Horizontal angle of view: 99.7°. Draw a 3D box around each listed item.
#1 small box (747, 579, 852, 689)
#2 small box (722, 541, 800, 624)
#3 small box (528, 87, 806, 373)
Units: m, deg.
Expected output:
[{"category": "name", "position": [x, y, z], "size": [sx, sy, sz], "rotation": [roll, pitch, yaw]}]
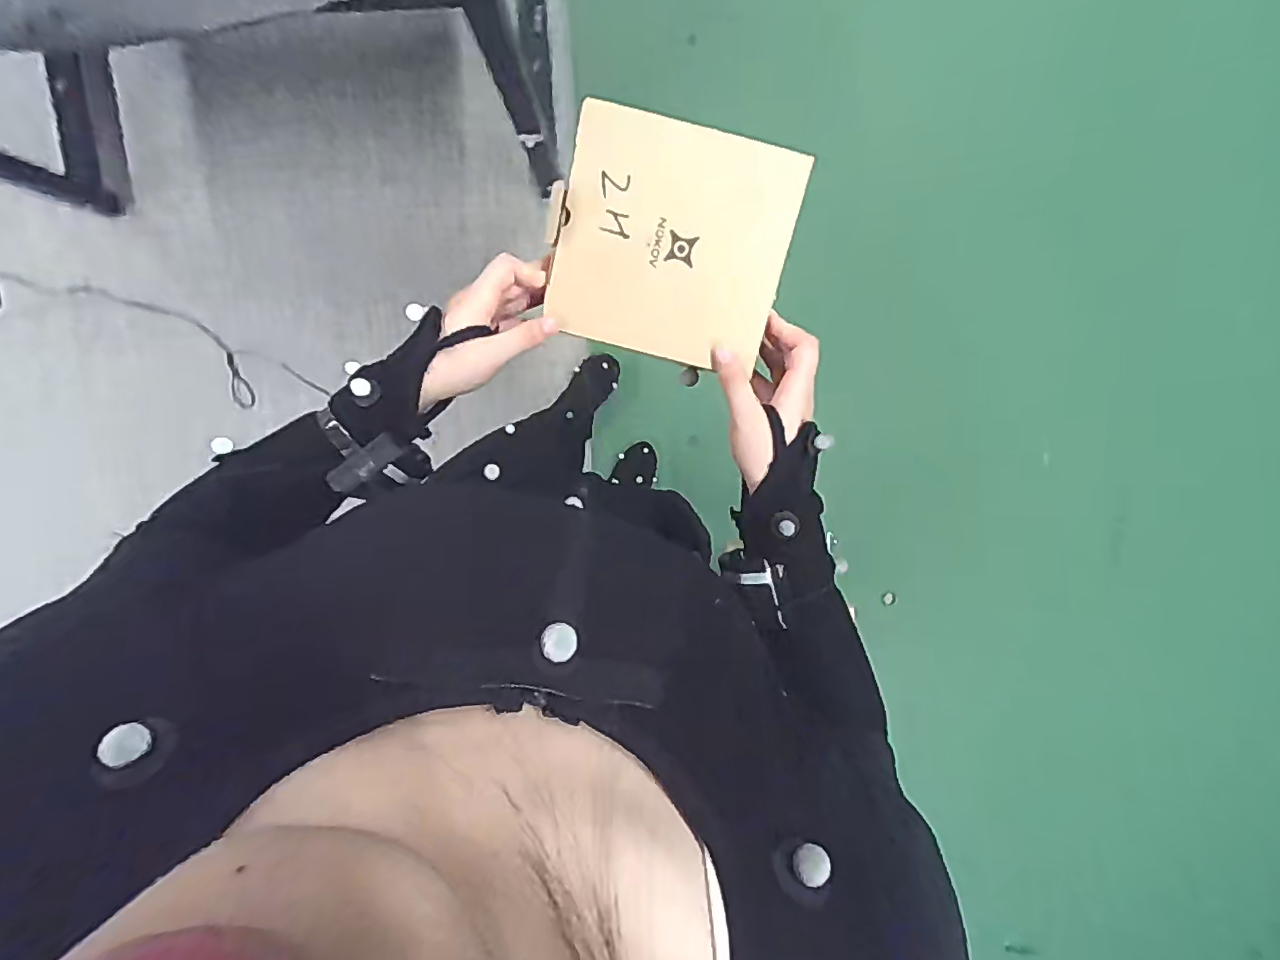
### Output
[{"category": "small box", "position": [0.321, 0.309, 1.116], "size": [0.168, 0.176, 0.179], "rotation": [1, 98, -1]}, {"category": "small box", "position": [0.315, 0.272, 1.443], "size": [0.168, 0.176, 0.179], "rotation": [2, 98, -1]}, {"category": "small box", "position": [0.019, -0.198, 0.475], "size": [0.179, 0.176, 0.168], "rotation": [13, 103, 0]}]
